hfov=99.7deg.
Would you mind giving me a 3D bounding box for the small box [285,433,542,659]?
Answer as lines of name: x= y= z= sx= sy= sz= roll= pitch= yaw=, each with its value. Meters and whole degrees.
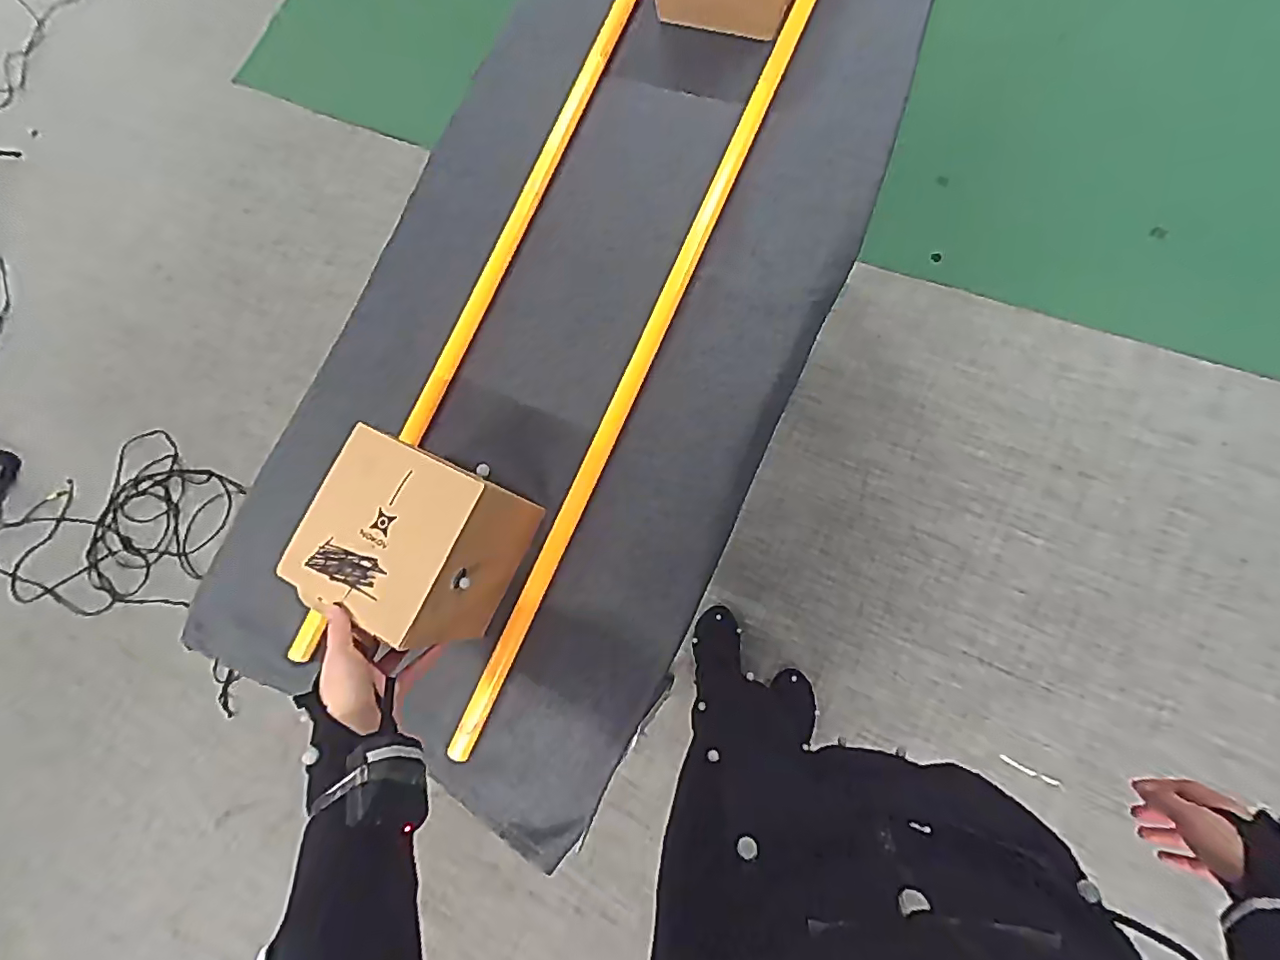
small box: x=-0.235 y=0.076 z=0.607 sx=0.168 sy=0.176 sz=0.179 roll=24 pitch=83 yaw=15
